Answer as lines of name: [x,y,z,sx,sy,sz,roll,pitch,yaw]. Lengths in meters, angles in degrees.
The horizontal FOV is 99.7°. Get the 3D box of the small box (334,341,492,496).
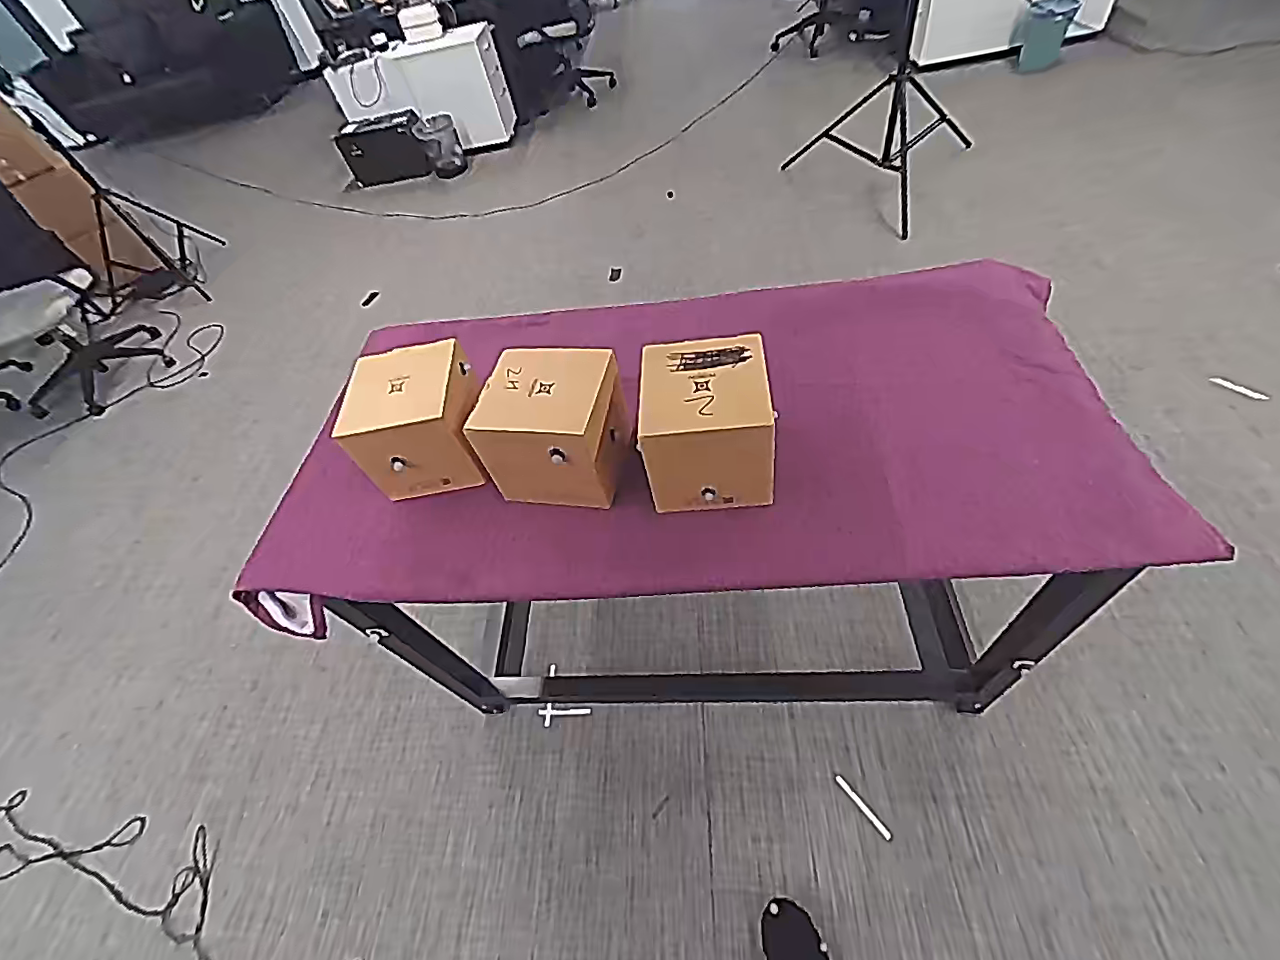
small box: [-0.350,-0.090,0.872,0.168,0.176,0.179,-11,52,4]
